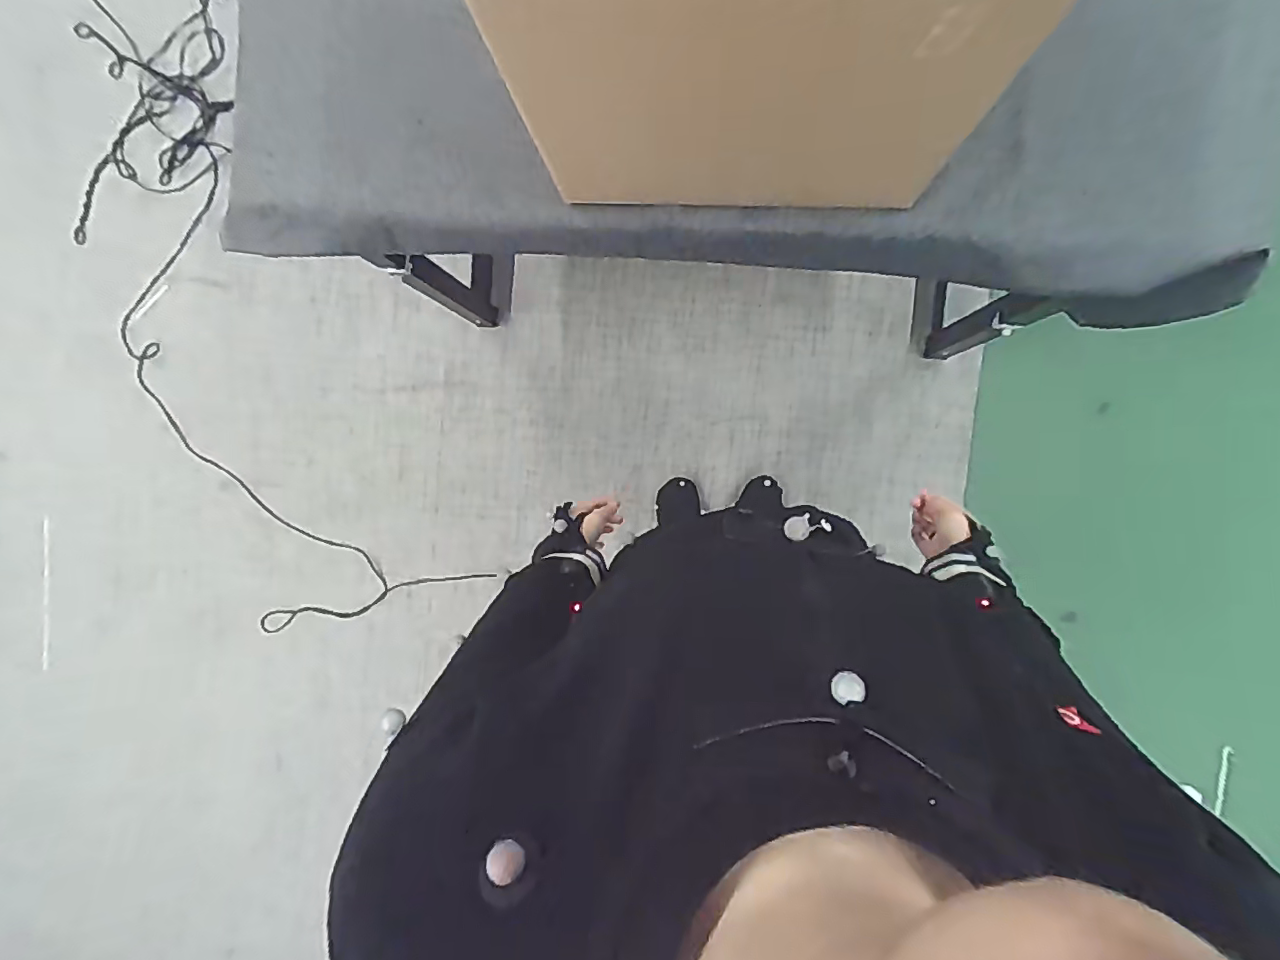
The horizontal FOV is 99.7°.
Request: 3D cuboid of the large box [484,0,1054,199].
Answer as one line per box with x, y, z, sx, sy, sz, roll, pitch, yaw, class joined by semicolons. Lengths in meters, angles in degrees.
0.099;-0.479;0.479;0.408;0.320;0.320;3;92;5;large box
